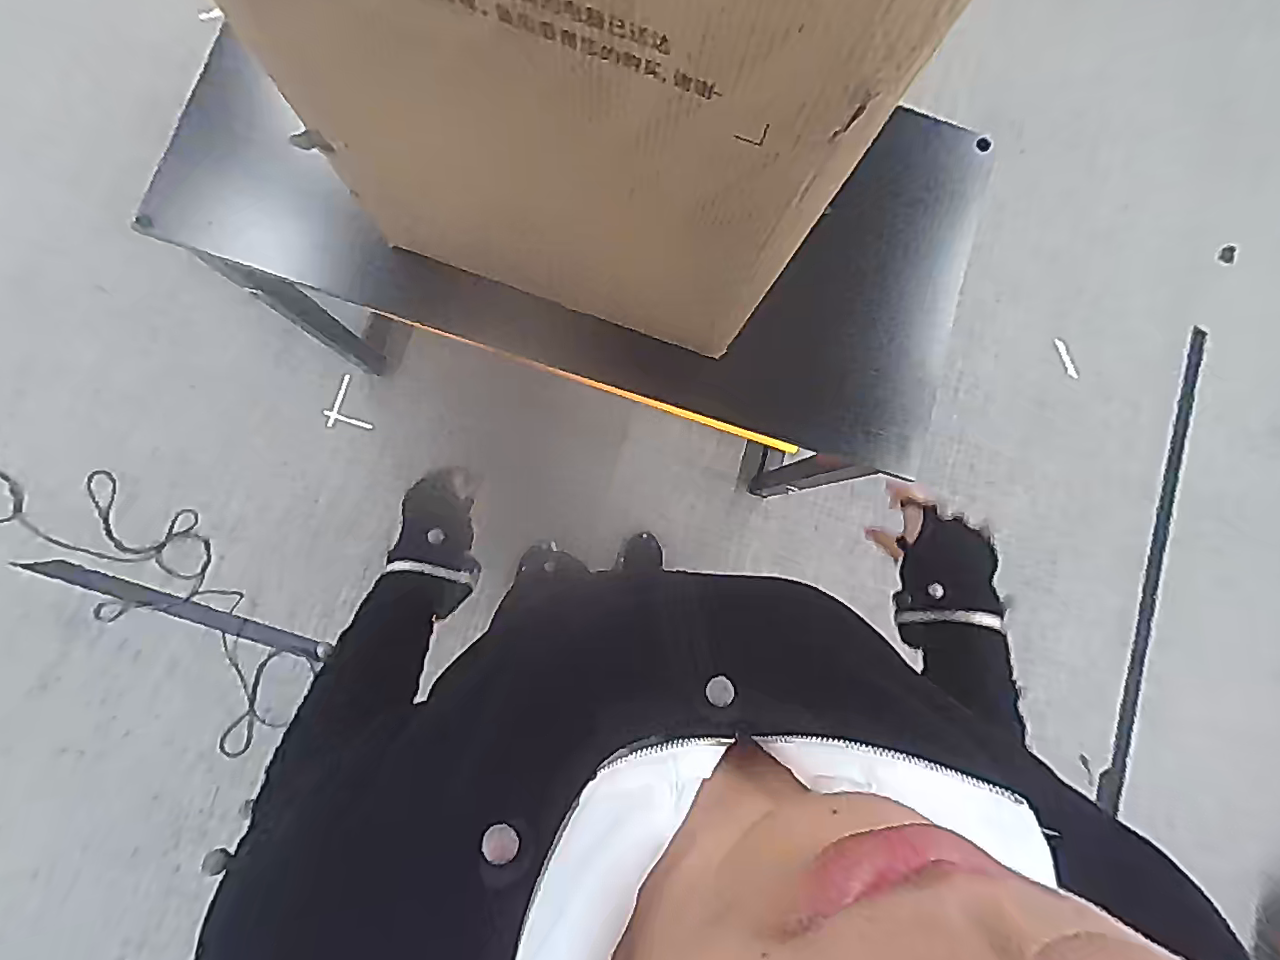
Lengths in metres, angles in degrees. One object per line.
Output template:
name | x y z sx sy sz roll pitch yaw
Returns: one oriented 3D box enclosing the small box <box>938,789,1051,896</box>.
small box | 0.932 0.949 1.432 0.179 0.176 0.168 12 83 -2
